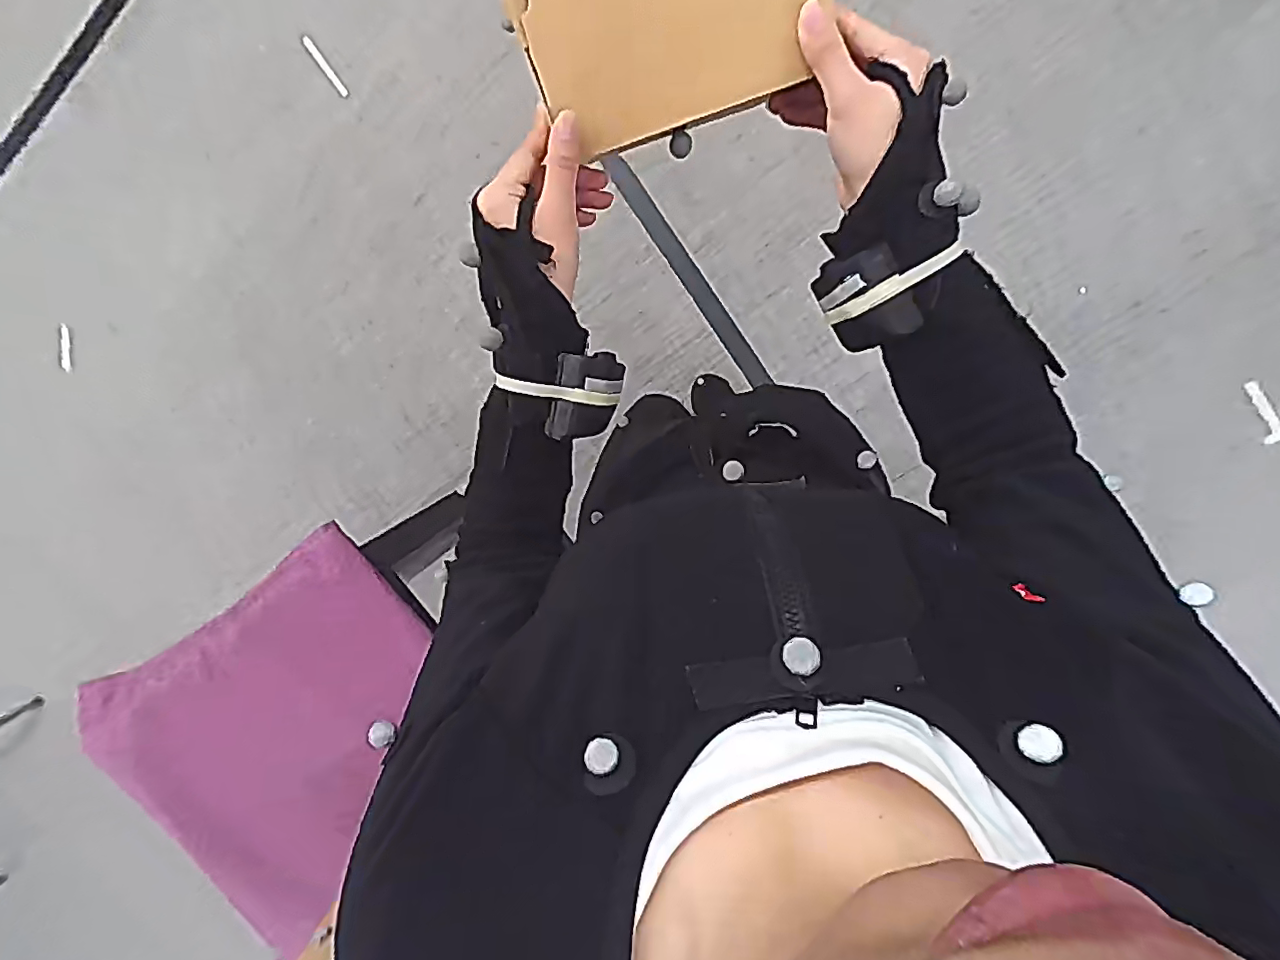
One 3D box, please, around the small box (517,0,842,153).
[{"bbox_3d":[0.008,-0.331,0.352,0.179,0.176,0.168,-17,120,4],"label":"small box"}]
